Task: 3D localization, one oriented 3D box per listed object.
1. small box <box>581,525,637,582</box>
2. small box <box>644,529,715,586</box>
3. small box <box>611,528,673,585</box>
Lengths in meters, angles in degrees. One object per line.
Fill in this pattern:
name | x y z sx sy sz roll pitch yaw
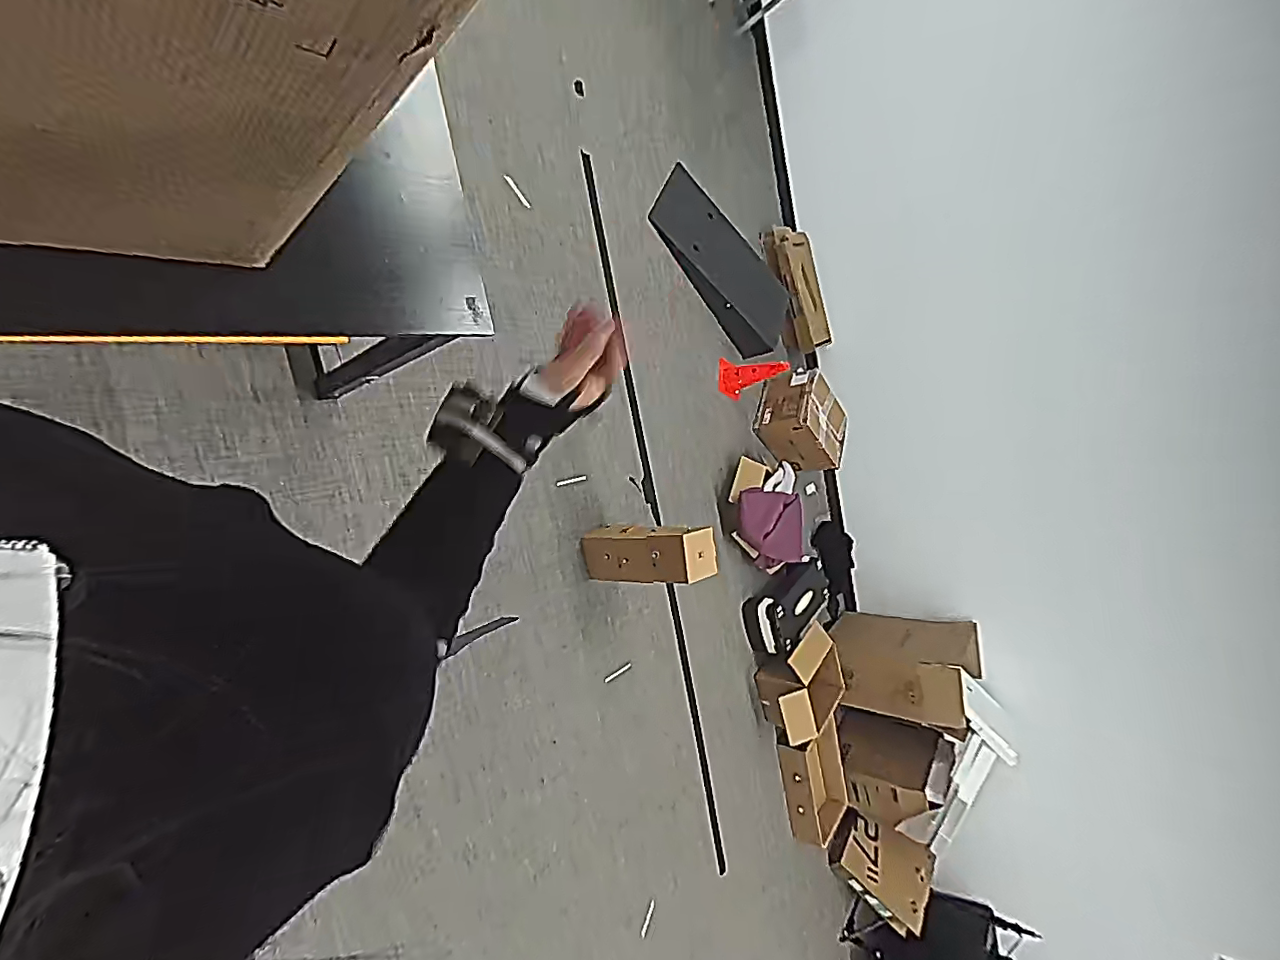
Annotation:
small box | -0.106 0.283 2.093 0.168 0.176 0.179 -22 102 -48
small box | 0.136 0.263 1.874 0.179 0.176 0.168 -8 91 -48
small box | 0.019 0.275 1.986 0.179 0.176 0.168 -16 98 -48
